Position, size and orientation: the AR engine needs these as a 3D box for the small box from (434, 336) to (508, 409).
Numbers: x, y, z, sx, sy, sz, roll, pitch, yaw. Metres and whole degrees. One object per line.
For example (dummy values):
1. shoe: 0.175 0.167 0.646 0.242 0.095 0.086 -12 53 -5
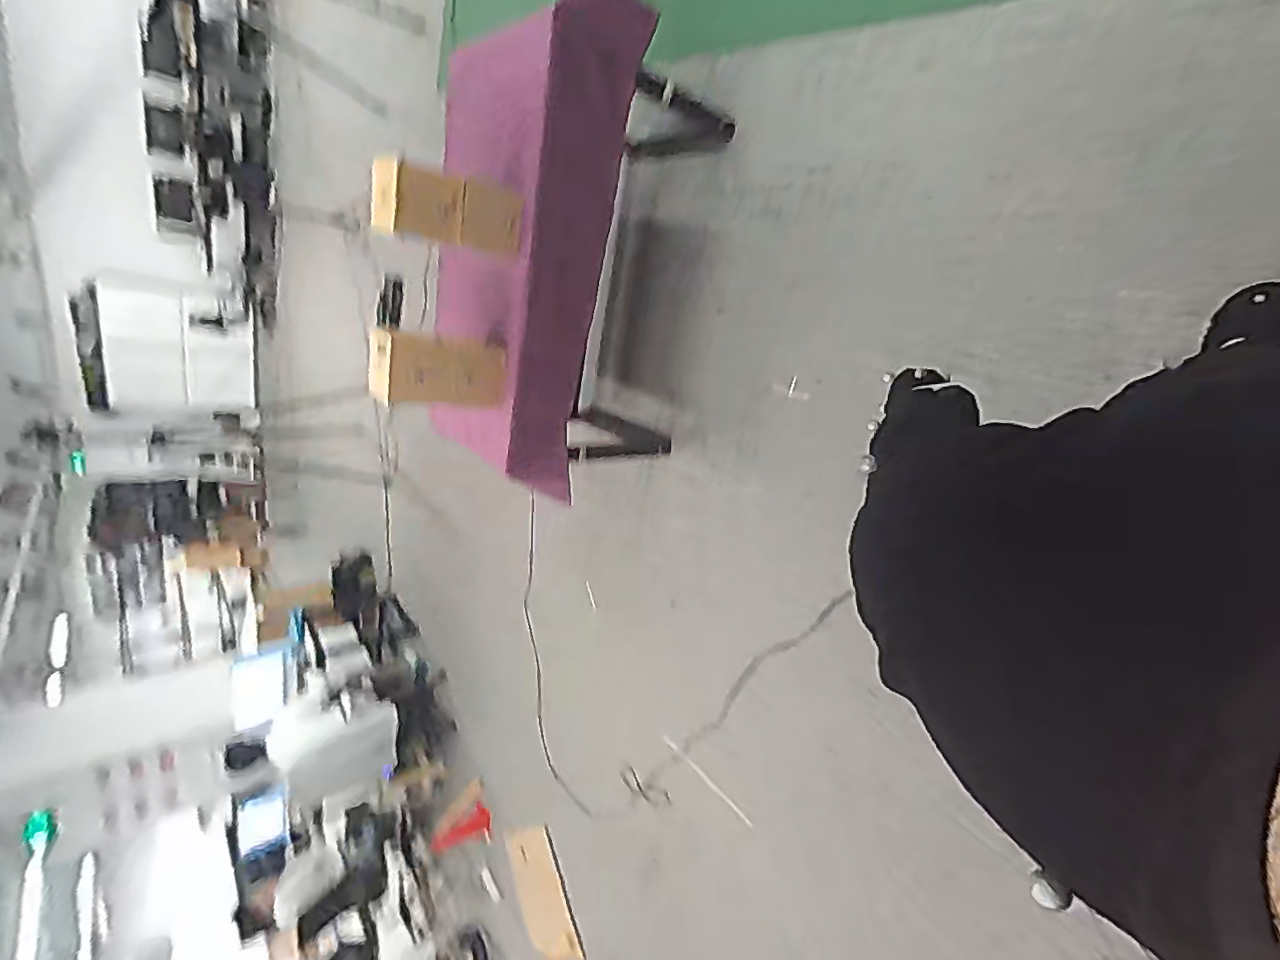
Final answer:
1. small box: -0.511 -0.316 1.607 0.168 0.176 0.179 31 115 41

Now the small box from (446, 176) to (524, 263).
1. small box: -0.436 -0.712 1.484 0.168 0.176 0.179 30 115 42

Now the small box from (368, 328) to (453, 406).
1. small box: -0.632 -0.310 1.496 0.168 0.176 0.179 30 116 41

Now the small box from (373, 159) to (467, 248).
1. small box: -0.563 -0.703 1.381 0.179 0.176 0.168 30 116 41
